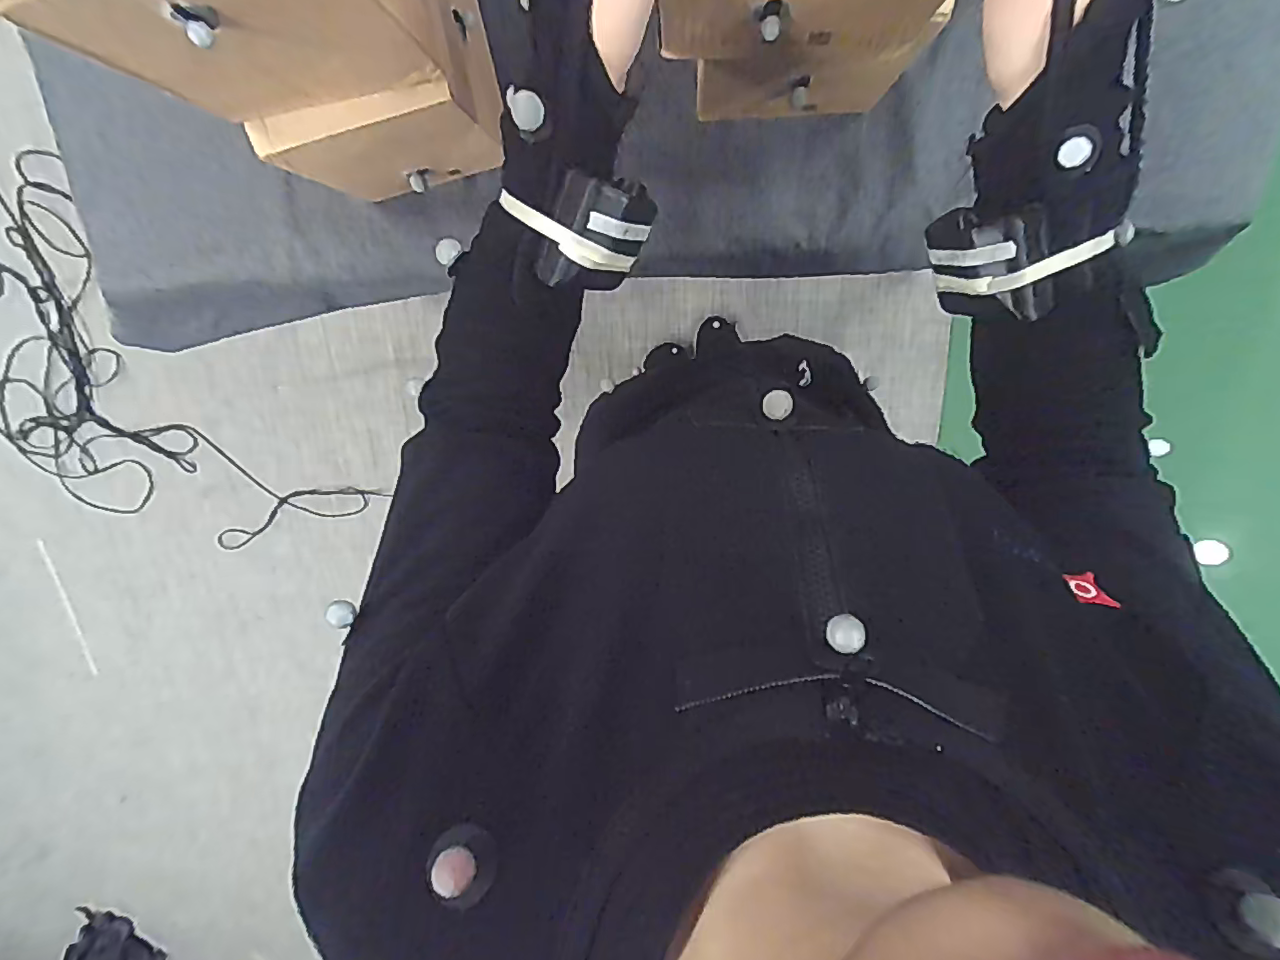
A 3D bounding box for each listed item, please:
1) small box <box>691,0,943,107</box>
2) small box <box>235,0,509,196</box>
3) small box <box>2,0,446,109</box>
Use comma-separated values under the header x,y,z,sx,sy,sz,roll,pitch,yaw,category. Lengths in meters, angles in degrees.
x,y,z,sx,sy,sz,roll,pitch,yaw,category
0.126,-0.414,0.420,0.168,0.176,0.179,-1,107,4,small box
-0.229,-0.368,0.457,0.168,0.176,0.179,-11,106,7,small box
-0.236,-0.334,0.297,0.179,0.176,0.168,-6,107,5,small box
